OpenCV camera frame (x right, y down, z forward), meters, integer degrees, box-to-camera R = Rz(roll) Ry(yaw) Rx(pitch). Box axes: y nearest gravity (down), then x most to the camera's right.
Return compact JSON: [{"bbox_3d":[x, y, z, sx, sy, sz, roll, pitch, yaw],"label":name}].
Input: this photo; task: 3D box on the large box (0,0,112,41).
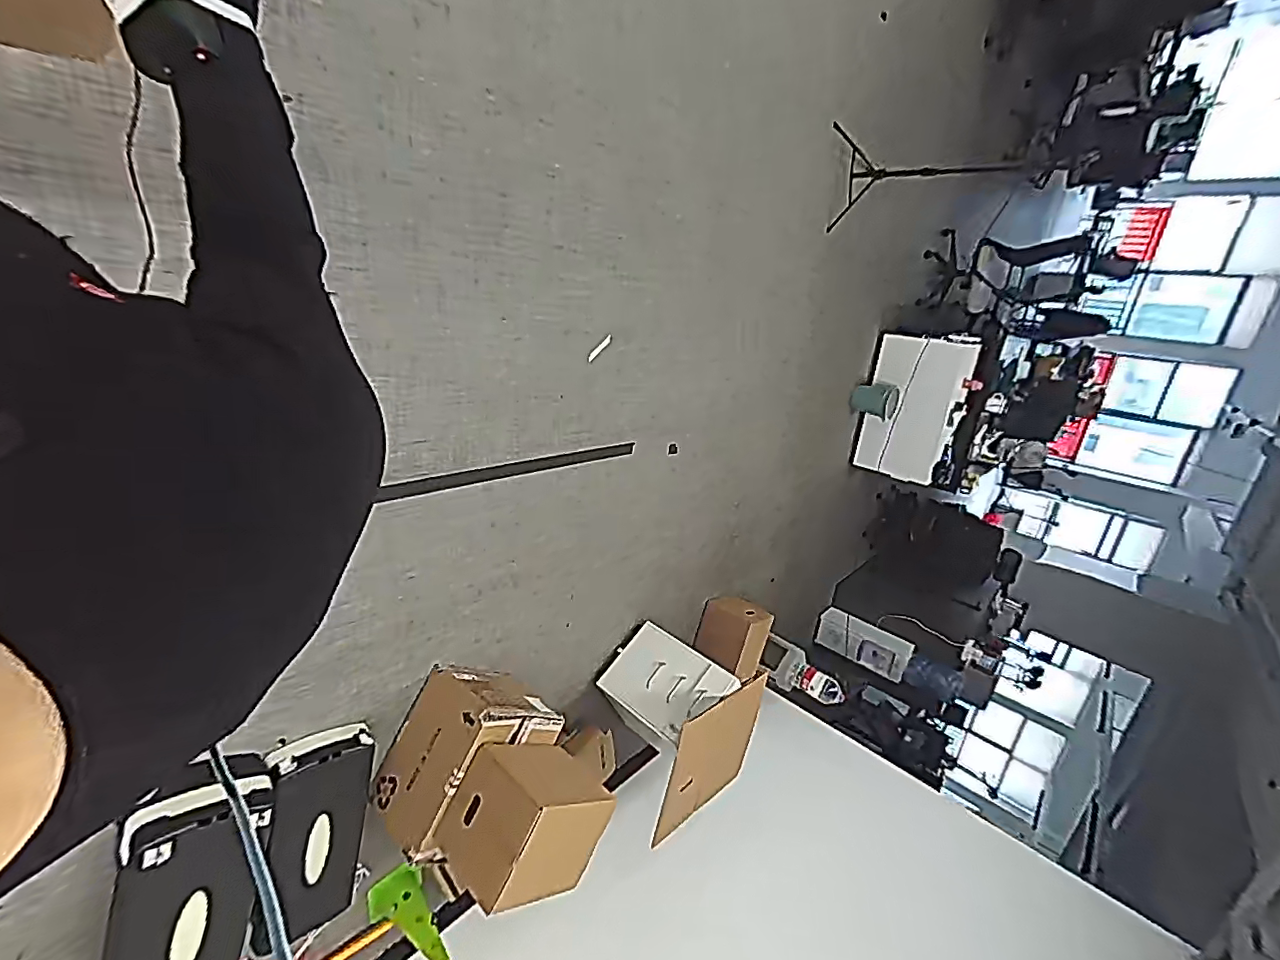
[{"bbox_3d":[-0.578,-0.484,0.265,0.408,0.320,0.320,-23,124,-44],"label":"large box"}]
